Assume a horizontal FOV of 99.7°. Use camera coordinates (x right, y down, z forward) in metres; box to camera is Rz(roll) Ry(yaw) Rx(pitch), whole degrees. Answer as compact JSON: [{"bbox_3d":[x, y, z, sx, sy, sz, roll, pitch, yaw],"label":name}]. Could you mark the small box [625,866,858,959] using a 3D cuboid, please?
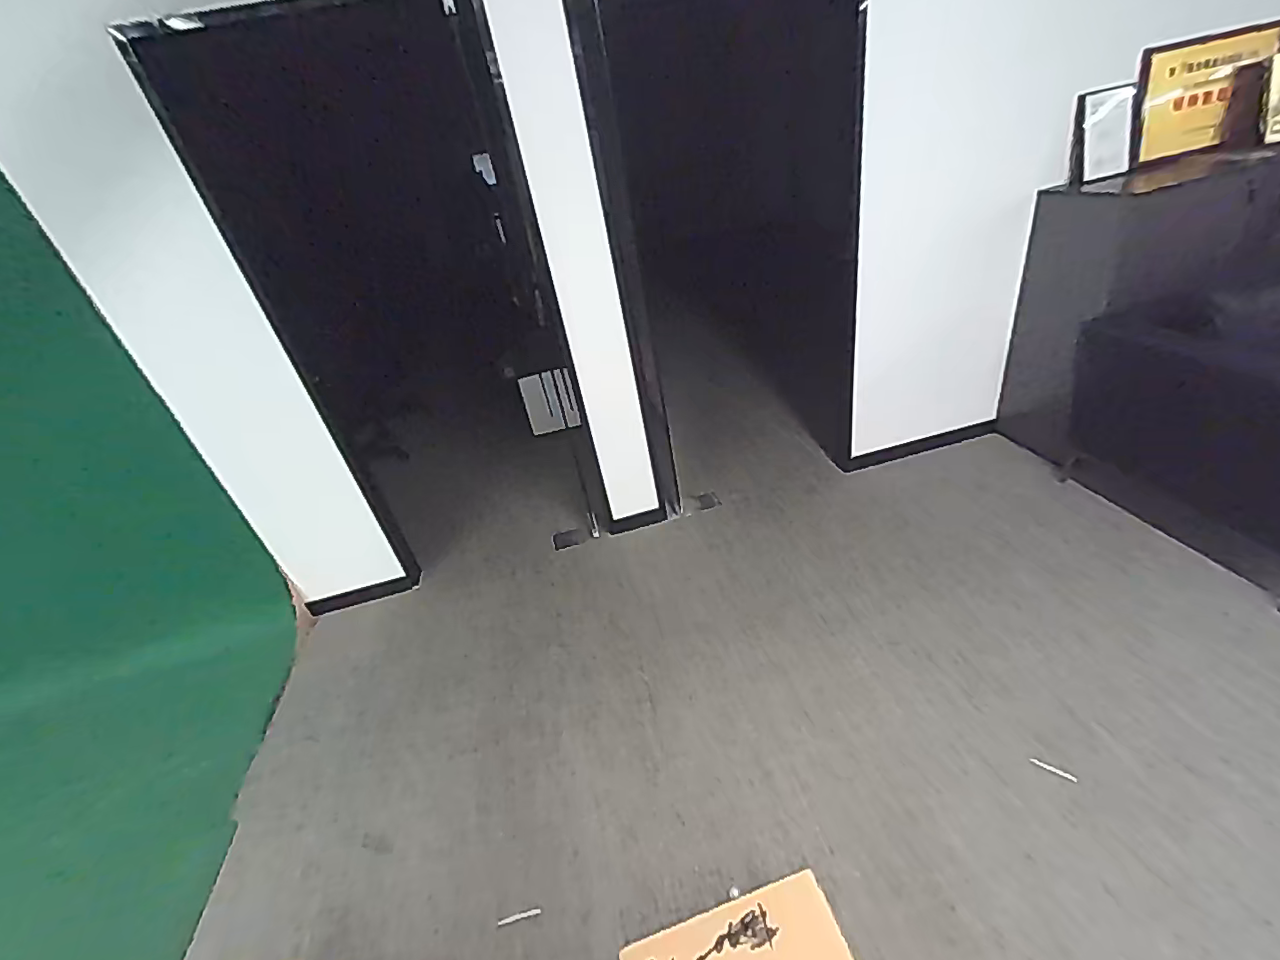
[{"bbox_3d":[0.103,0.443,0.411,0.168,0.176,0.179,-19,39,-6],"label":"small box"}]
